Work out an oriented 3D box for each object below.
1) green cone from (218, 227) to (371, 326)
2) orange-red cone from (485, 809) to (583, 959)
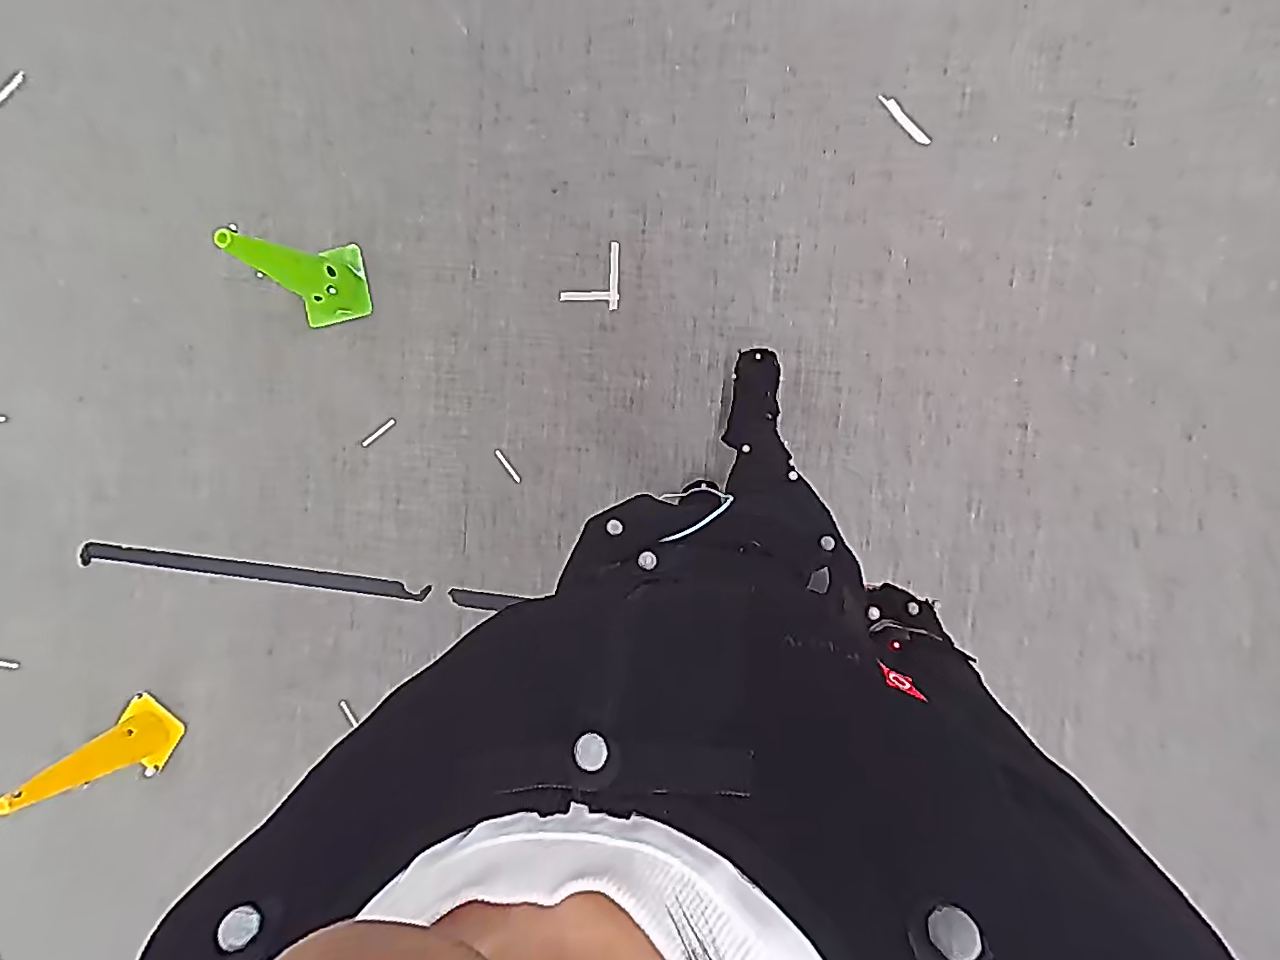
[{"bbox_3d":[-0.885,-0.536,1.355,0.202,0.368,0.200,-11,92,8],"label":"green cone"},{"bbox_3d":[-0.297,1.047,1.354,0.199,0.360,0.198,12,94,9],"label":"orange-red cone"}]
